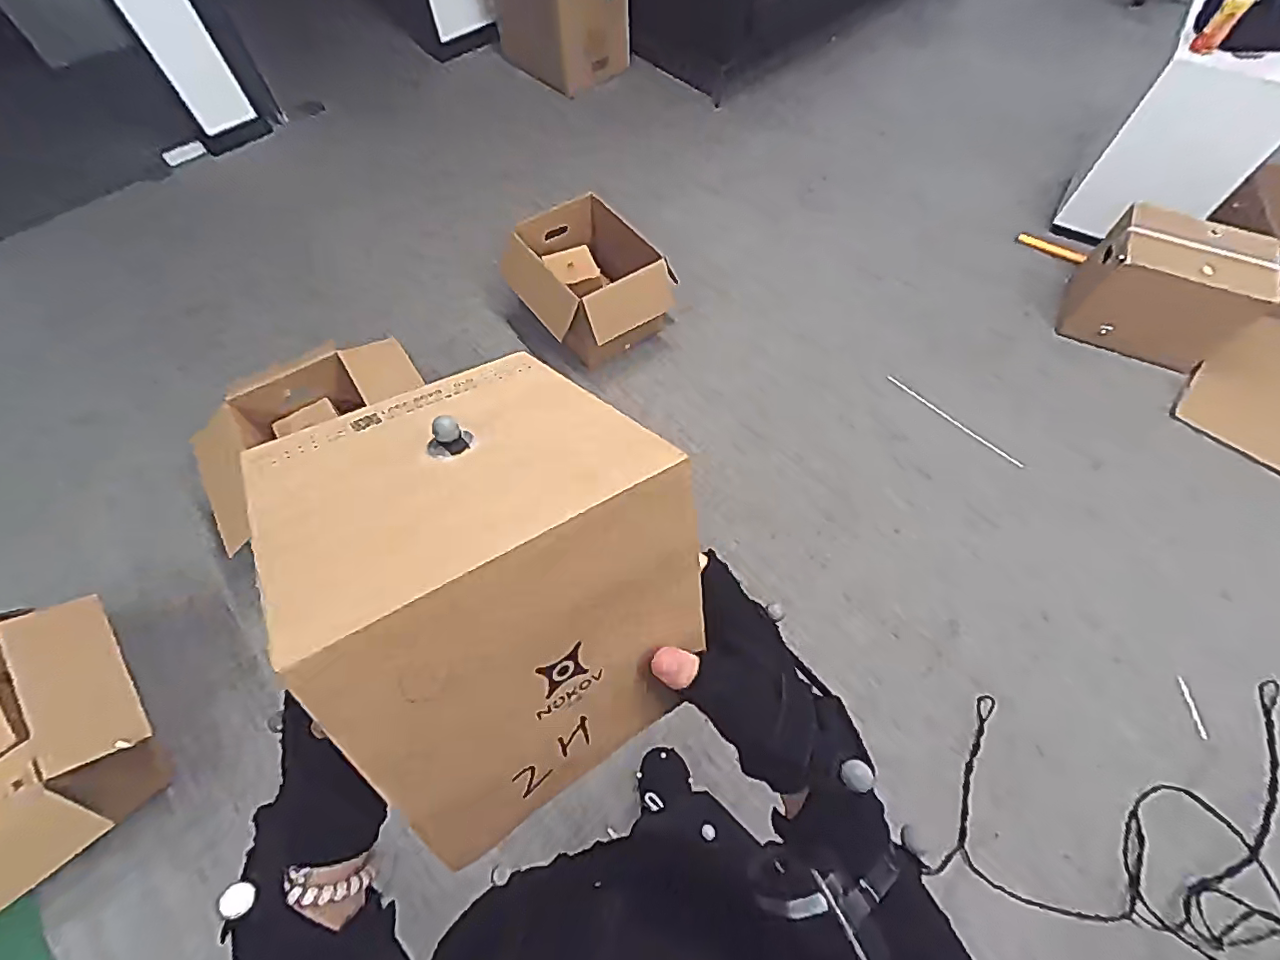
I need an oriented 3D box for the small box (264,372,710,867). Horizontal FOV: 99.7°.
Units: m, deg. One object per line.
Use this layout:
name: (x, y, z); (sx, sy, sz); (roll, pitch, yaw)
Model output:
small box: (-0.079, 0.053, 0.304); (0.168, 0.179, 0.176); (-27, 40, -24)
